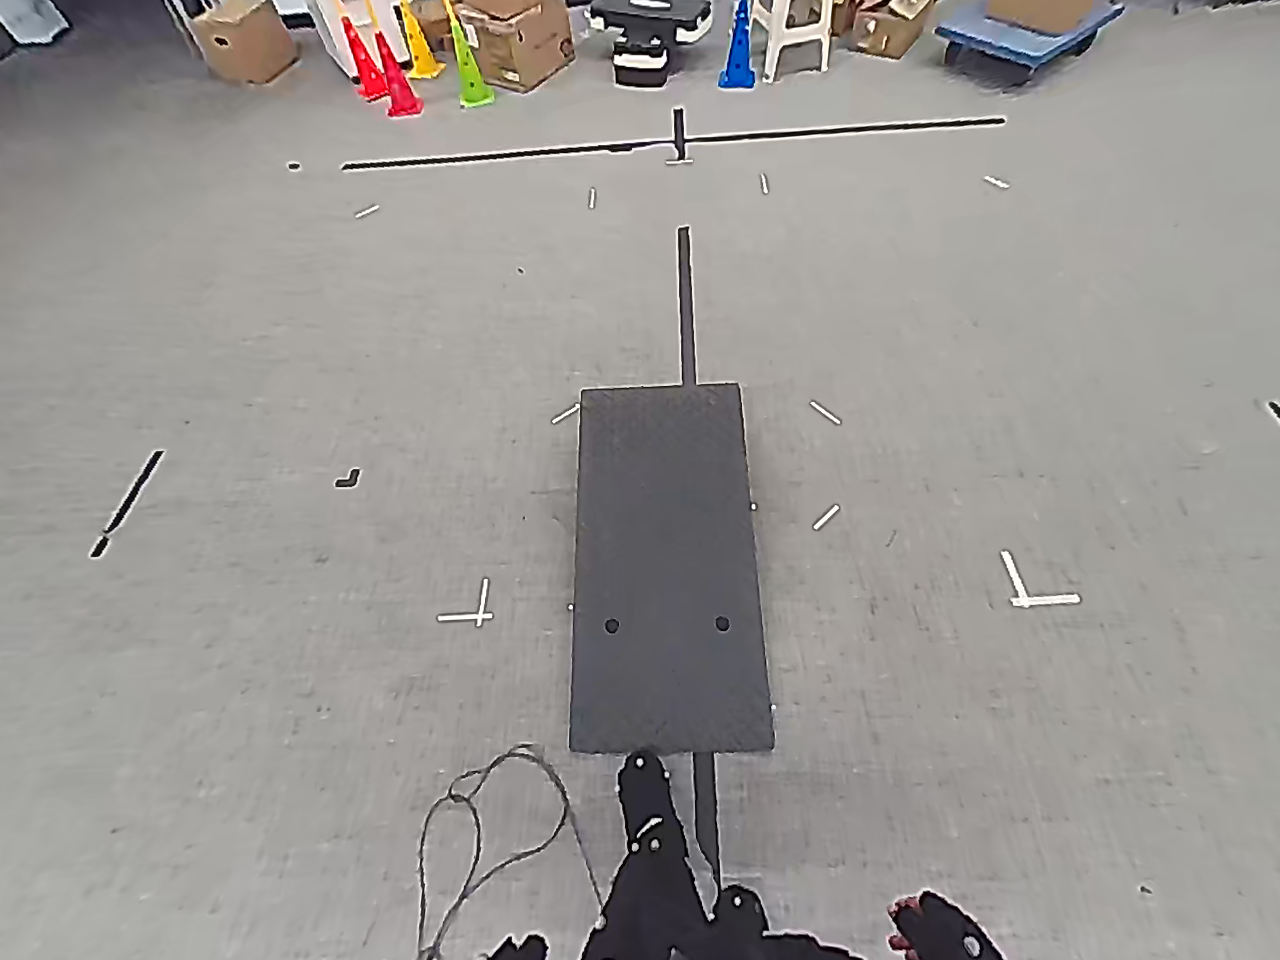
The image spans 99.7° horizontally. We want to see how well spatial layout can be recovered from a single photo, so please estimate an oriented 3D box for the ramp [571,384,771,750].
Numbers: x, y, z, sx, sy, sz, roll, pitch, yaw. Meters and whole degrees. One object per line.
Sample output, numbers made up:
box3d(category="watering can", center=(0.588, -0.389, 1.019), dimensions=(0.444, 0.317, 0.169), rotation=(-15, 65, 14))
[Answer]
box3d(category="ramp", center=(0.065, 0.180, 1.480), dimensions=(0.509, 0.206, 0.991), rotation=(-3, 58, 1))
